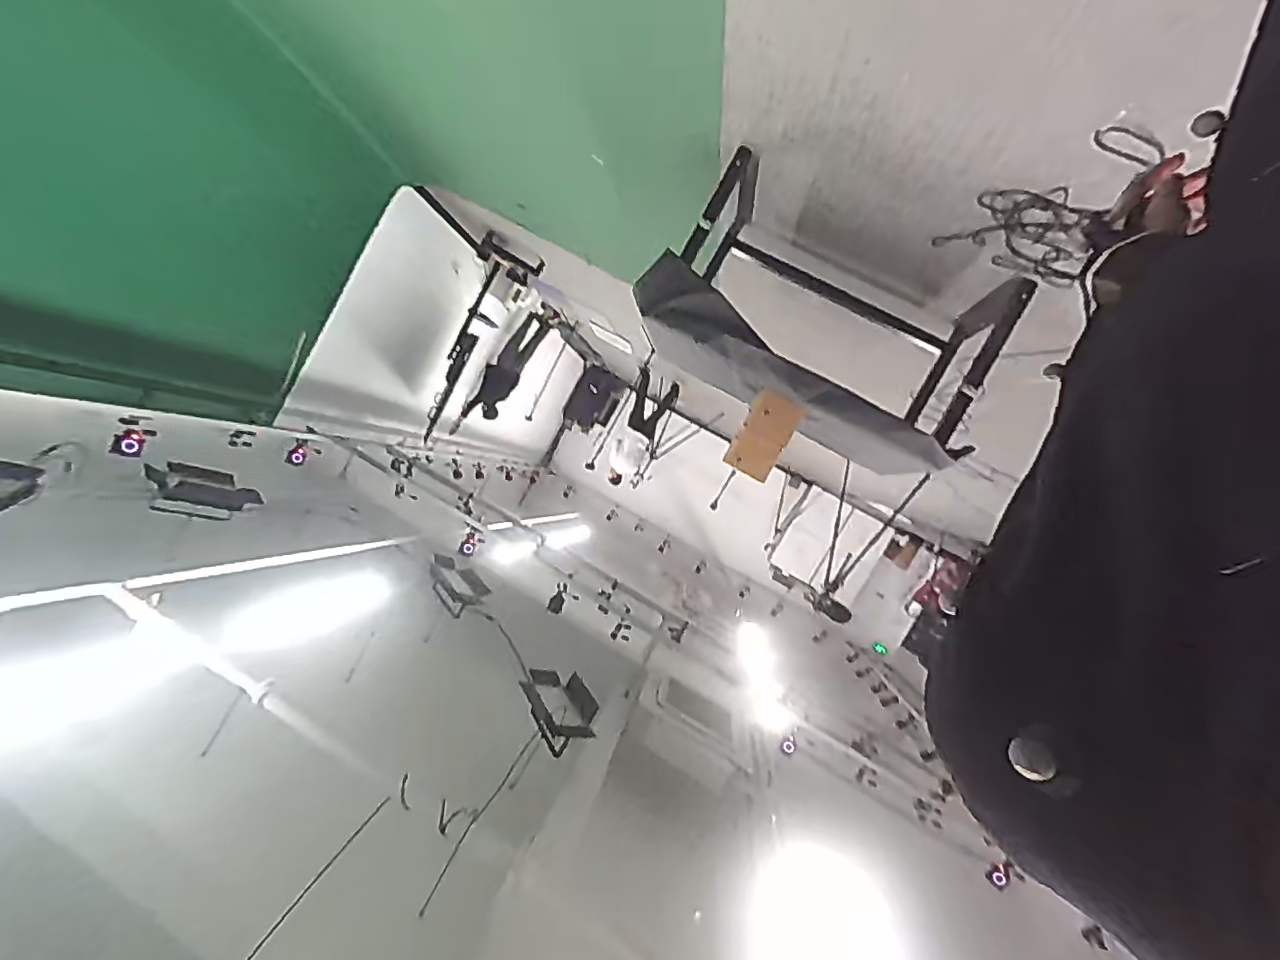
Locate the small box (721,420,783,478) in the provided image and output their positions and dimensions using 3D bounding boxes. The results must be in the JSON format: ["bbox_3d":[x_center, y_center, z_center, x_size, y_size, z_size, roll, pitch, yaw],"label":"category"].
[{"bbox_3d":[0.449,-0.128,2.170,0.179,0.176,0.168,29,-176,-2],"label":"small box"}]

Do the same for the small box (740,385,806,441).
[{"bbox_3d":[0.527,-0.270,2.155,0.179,0.176,0.168,28,-176,-1],"label":"small box"}]
